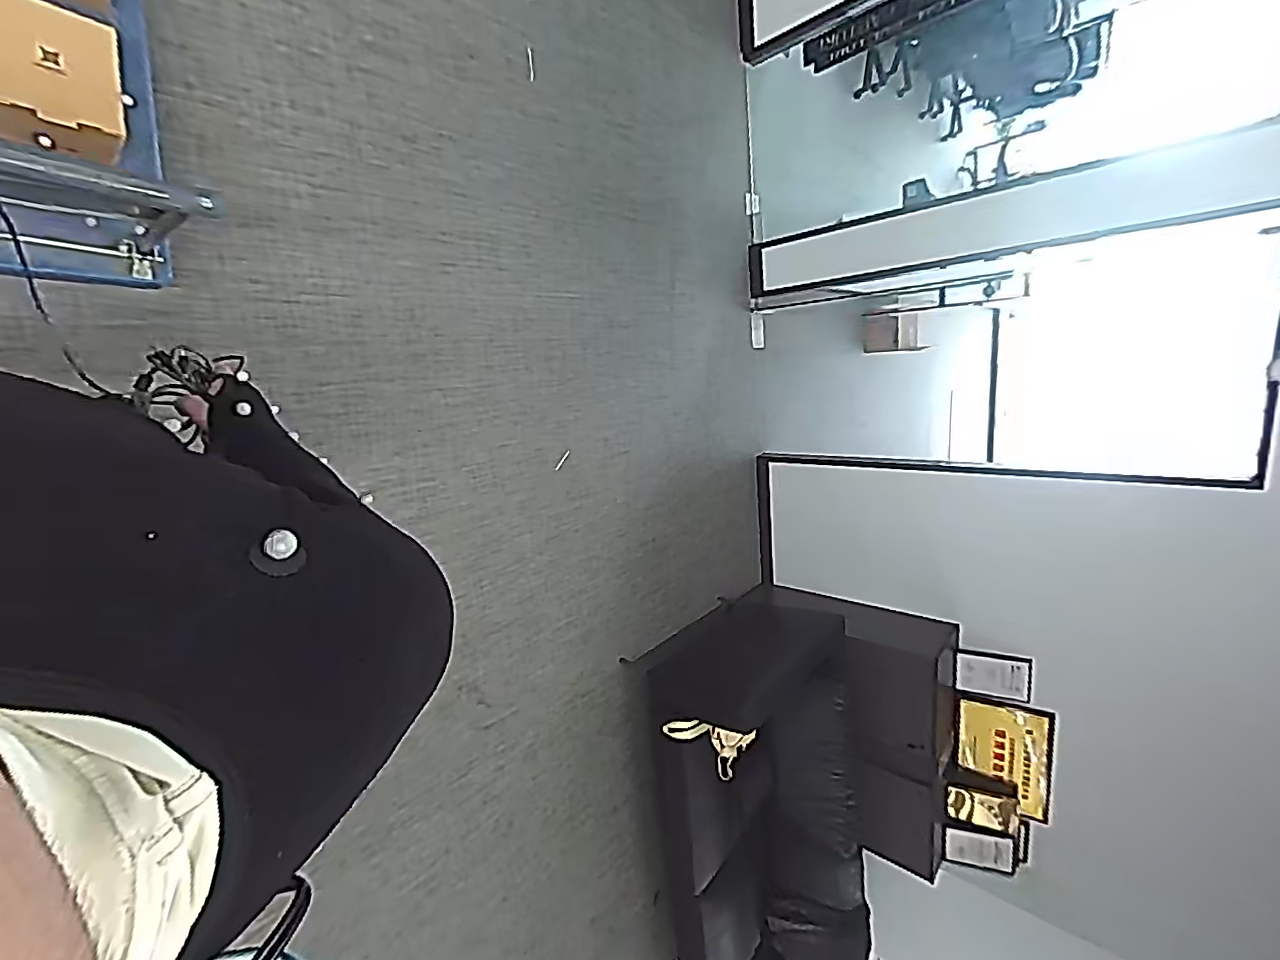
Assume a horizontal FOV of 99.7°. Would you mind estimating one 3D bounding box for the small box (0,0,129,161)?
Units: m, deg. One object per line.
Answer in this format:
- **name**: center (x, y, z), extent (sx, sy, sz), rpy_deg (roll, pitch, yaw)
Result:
- **small box**: center (-1.003, -0.686, 0.924), extent (0.168, 0.176, 0.179), rpy_deg (-7, 101, -47)
